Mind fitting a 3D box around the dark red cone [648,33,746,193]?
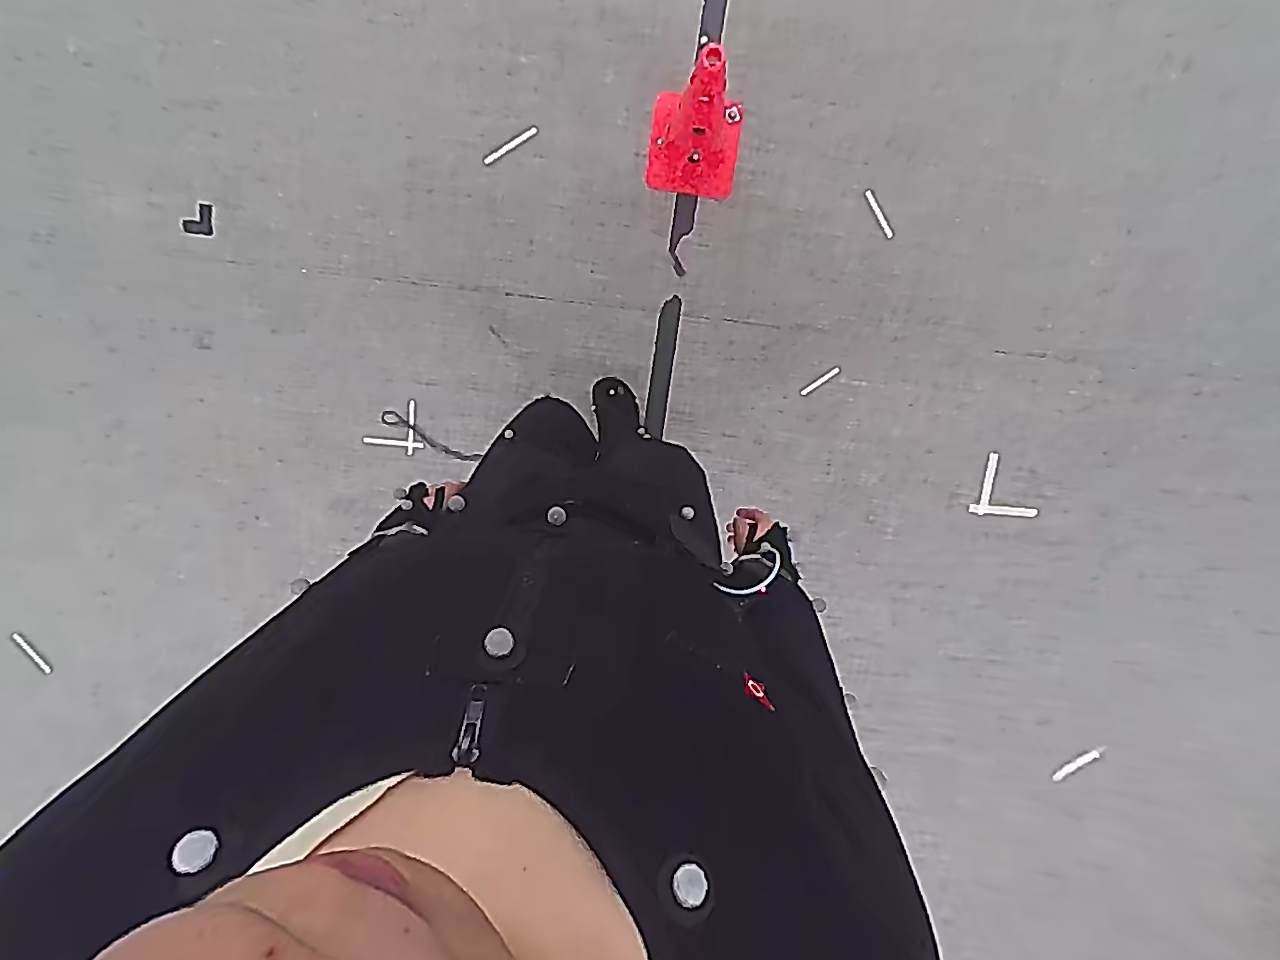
[{"bbox_3d":[0.119,-0.714,1.026,0.201,0.394,0.202,7,102,0],"label":"dark red cone"}]
